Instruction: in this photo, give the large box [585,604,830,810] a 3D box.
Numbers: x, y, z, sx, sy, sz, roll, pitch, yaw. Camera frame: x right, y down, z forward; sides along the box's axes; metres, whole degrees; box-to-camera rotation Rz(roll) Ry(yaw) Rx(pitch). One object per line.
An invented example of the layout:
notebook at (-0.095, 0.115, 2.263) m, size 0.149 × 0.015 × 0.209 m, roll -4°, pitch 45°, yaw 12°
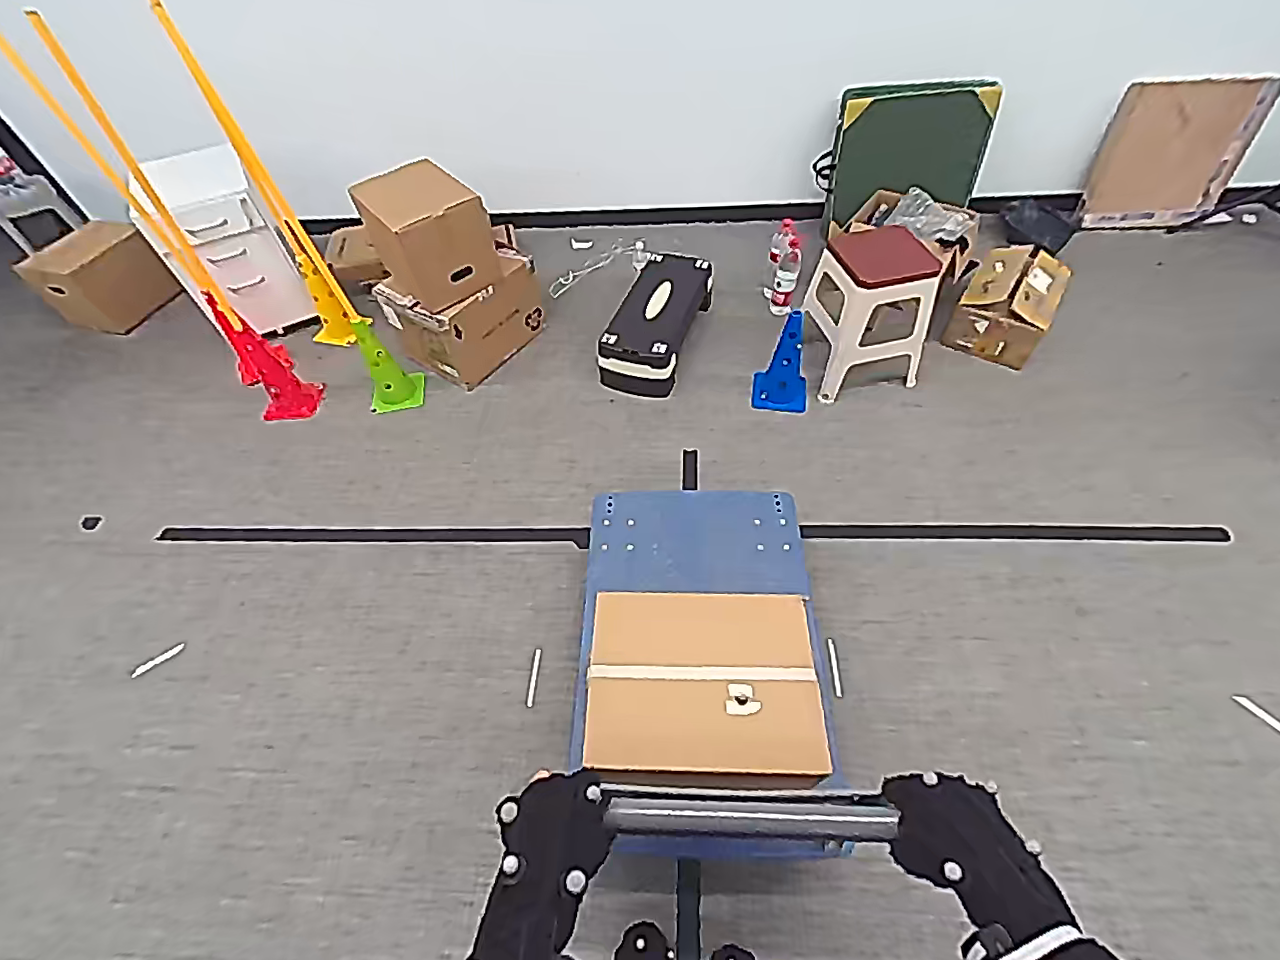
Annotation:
large box at (0.111, 0.454, 1.072) m, size 0.408 × 0.320 × 0.320 m, roll 0°, pitch 52°, yaw 2°
